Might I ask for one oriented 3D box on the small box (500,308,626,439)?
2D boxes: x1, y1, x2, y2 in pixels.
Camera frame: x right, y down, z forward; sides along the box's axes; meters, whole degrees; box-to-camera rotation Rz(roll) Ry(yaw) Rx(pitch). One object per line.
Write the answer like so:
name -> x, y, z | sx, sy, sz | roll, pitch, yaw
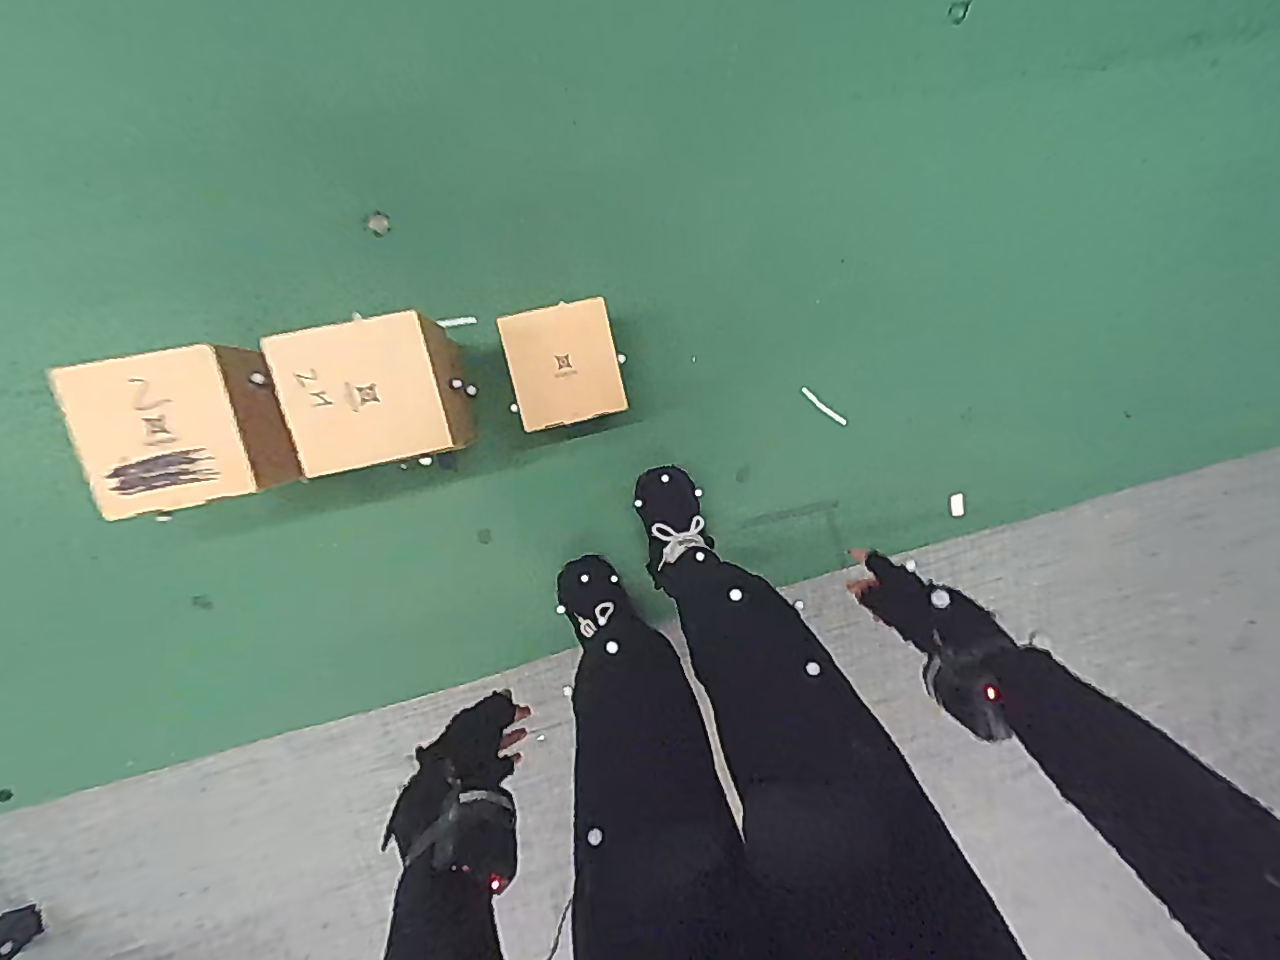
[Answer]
small box -> -0.132, -0.175, 0.917 | 0.168, 0.176, 0.179 | -14, 101, -7
